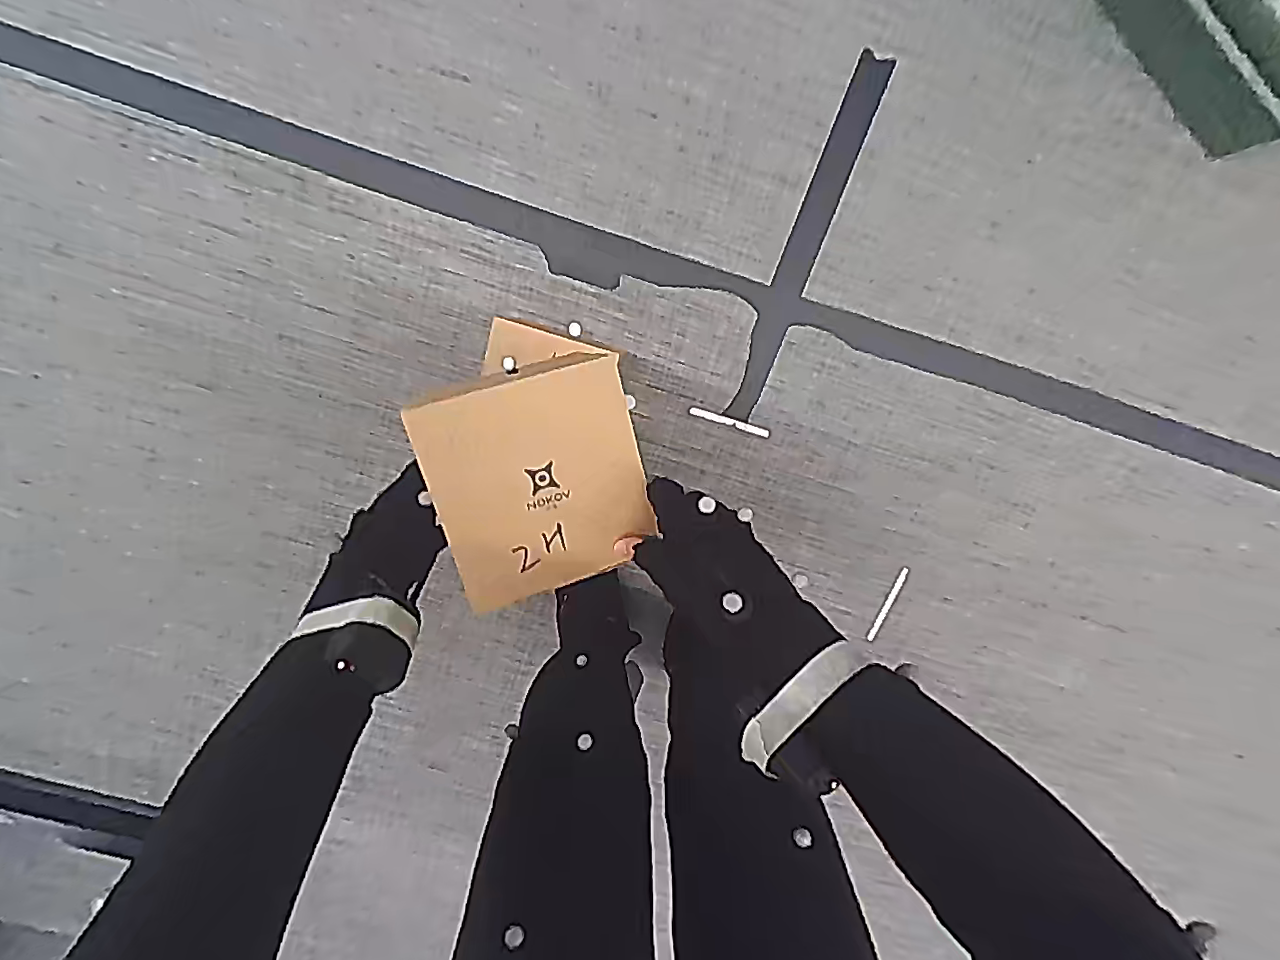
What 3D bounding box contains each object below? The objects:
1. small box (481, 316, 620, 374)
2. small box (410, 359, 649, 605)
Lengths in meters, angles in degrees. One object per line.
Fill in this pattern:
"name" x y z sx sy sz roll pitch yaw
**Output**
"small box" -0.128 -0.123 0.774 0.168 0.176 0.179 16 105 -4
"small box" -0.102 -0.015 0.511 0.168 0.176 0.179 -13 109 -11
